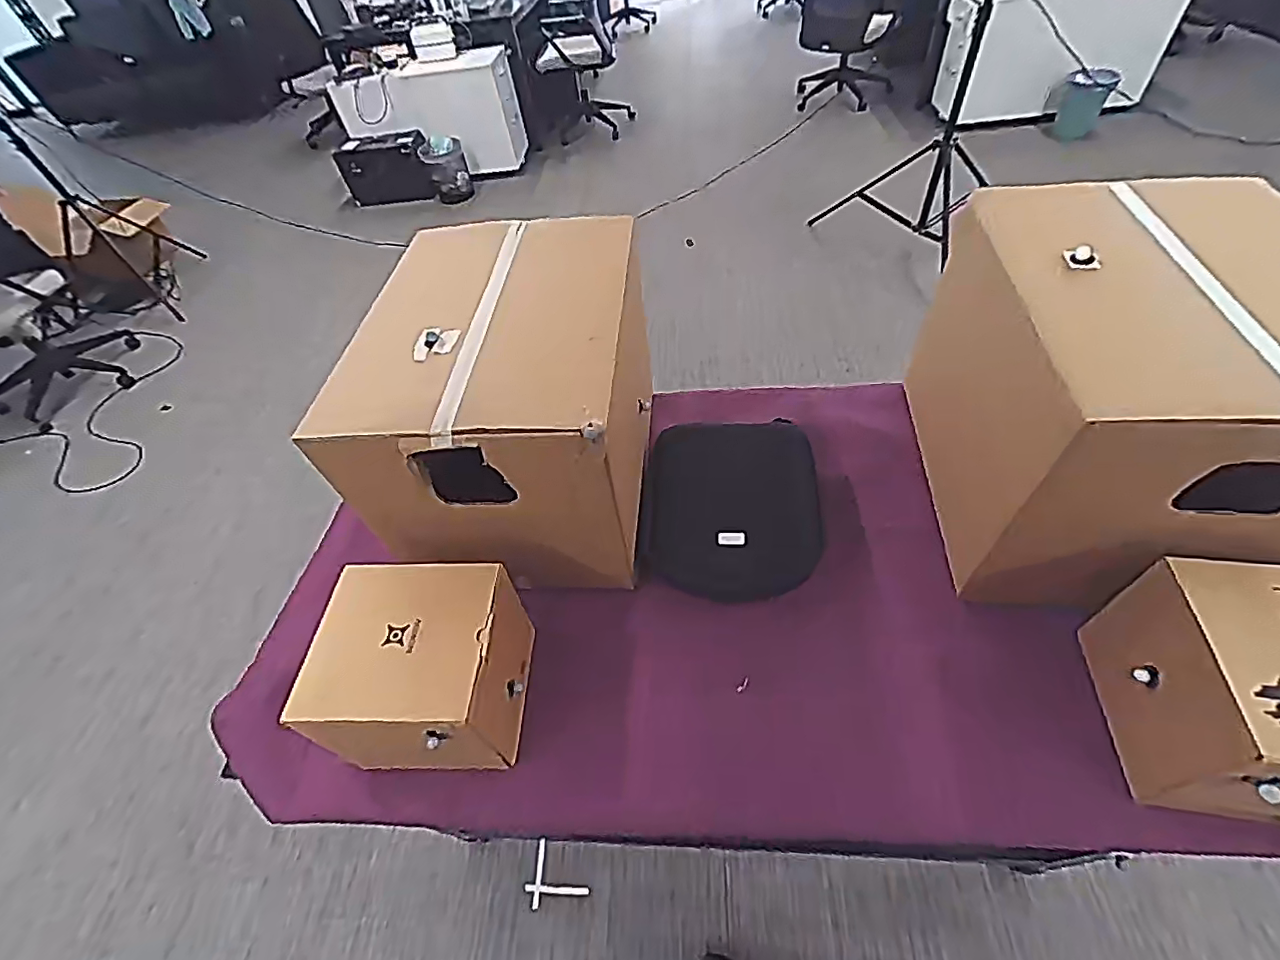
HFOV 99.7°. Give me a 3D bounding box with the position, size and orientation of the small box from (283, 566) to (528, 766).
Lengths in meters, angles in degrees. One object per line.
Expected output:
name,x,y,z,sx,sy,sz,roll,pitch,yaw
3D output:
small box,-0.237,0.210,0.602,0.179,0.176,0.168,-1,50,2

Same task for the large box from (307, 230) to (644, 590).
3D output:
large box,-0.161,-0.093,0.756,0.320,0.320,0.408,-2,53,7
